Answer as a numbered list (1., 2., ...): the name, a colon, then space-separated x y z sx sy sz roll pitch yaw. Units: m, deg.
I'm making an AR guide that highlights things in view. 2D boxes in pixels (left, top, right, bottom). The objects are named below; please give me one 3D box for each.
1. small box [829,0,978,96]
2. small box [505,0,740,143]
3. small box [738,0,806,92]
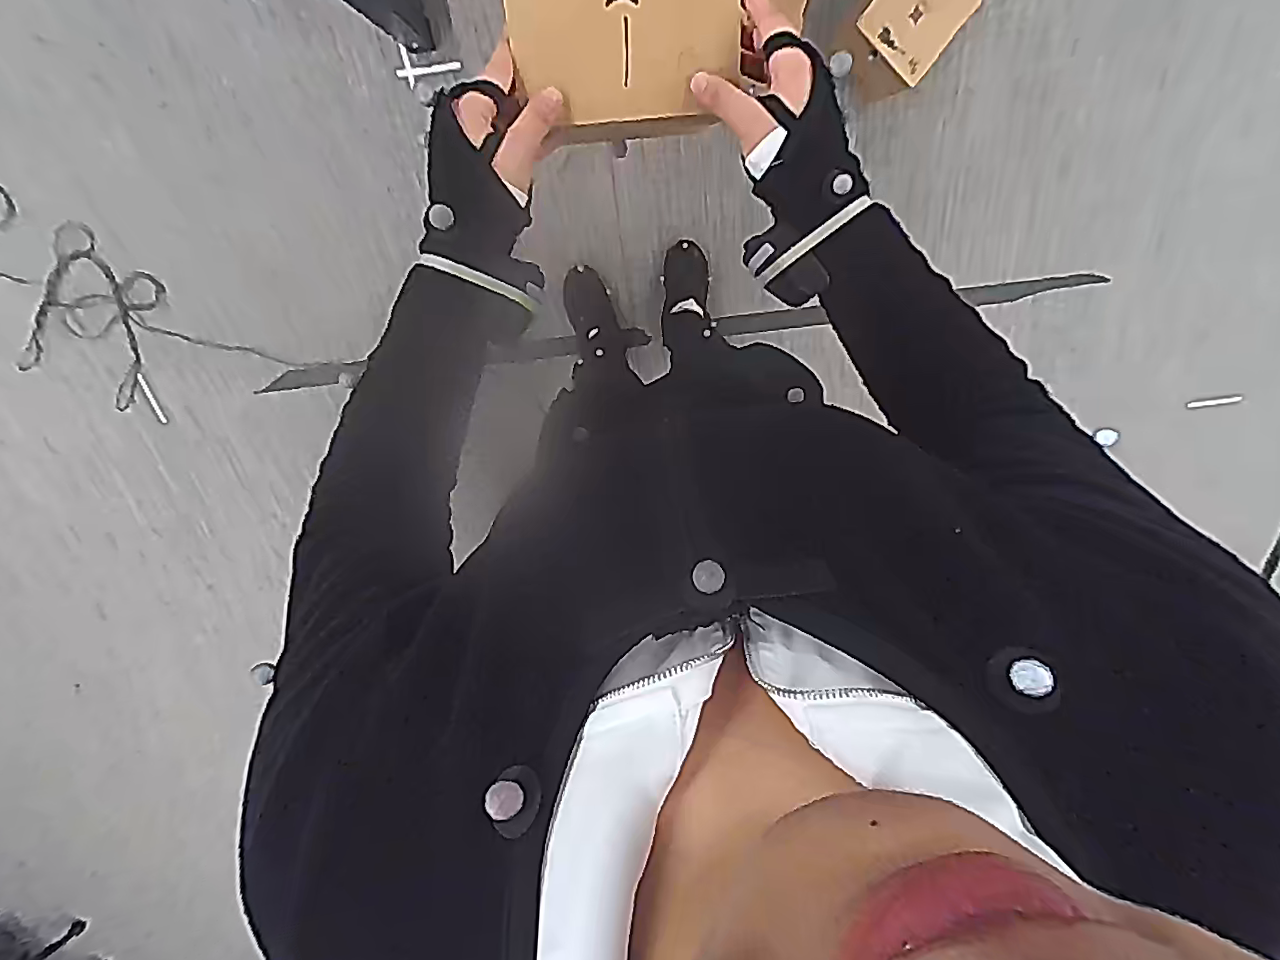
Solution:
1. small box: 0.506 -0.903 1.059 0.168 0.176 0.179 33 111 -18
2. small box: -0.019 -0.385 0.433 0.168 0.176 0.179 -6 119 -1
3. small box: 0.203 -0.886 1.055 0.179 0.176 0.168 12 115 -8
